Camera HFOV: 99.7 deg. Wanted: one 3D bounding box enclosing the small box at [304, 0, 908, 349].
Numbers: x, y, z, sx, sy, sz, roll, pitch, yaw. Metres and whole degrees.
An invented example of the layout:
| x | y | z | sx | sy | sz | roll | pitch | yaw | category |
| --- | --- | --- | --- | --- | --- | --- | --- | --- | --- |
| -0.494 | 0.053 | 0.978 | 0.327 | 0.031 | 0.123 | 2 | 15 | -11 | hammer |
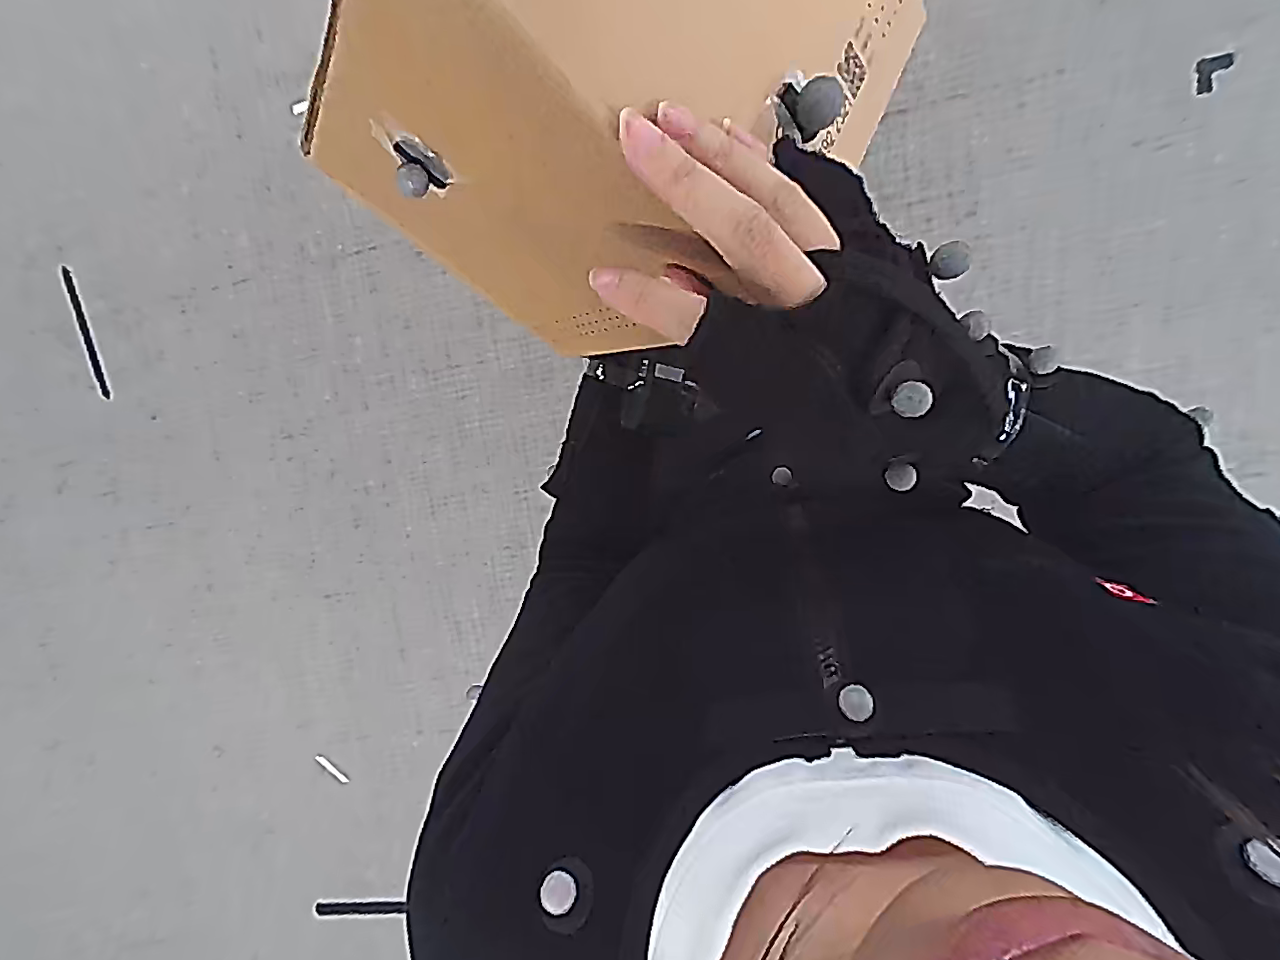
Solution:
| x | y | z | sx | sy | sz | roll | pitch | yaw | category |
| --- | --- | --- | --- | --- | --- | --- | --- | --- | --- |
| -0.017 | -0.175 | 0.247 | 0.176 | 0.179 | 0.168 | 32 | 77 | -35 | small box |
